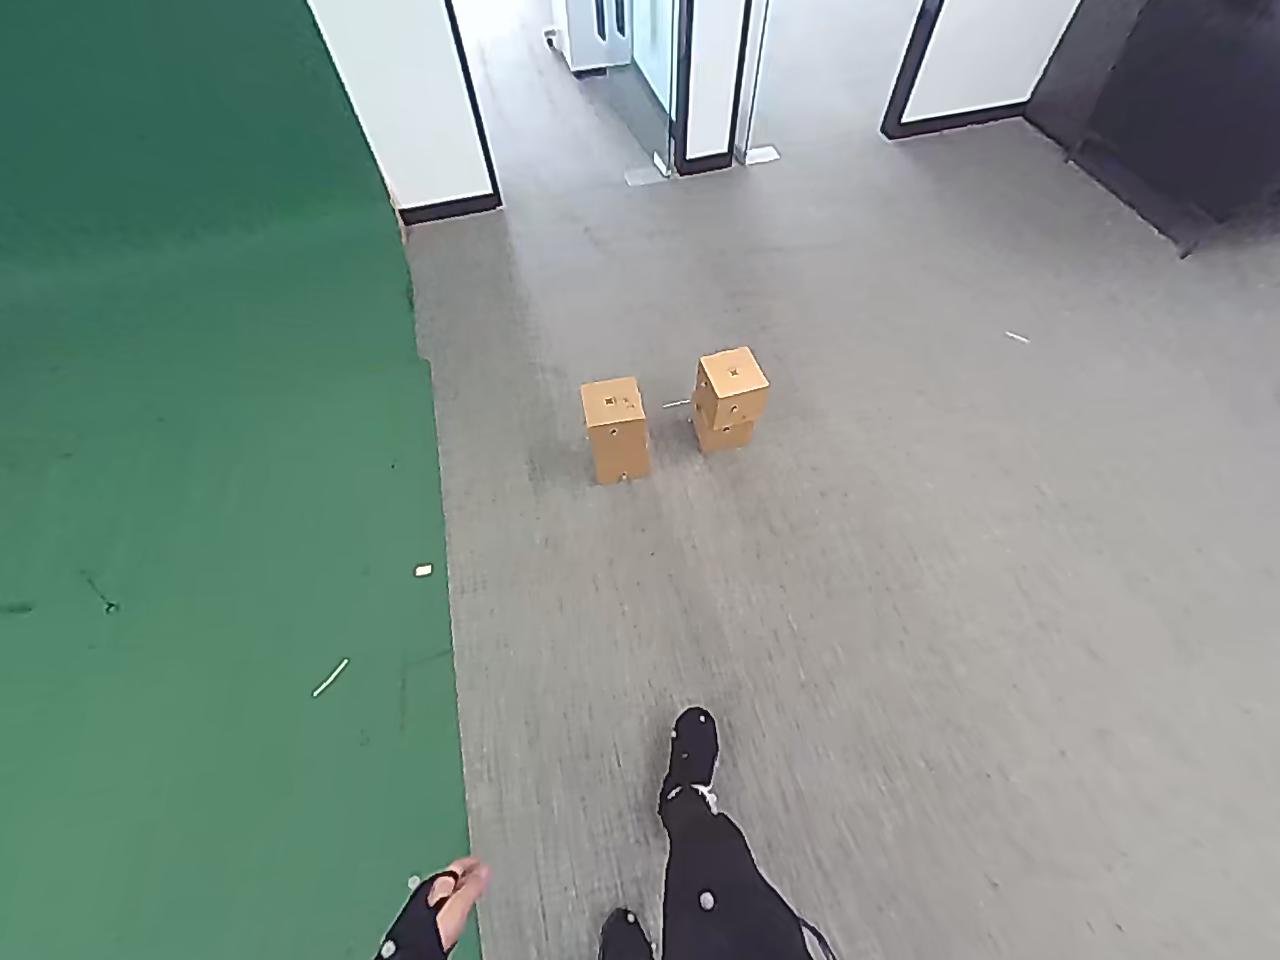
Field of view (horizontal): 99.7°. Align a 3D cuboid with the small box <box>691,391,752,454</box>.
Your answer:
[{"bbox_3d":[0.280,-0.208,1.869,0.179,0.176,0.168,-12,59,-7],"label":"small box"}]

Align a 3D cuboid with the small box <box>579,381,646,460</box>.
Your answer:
[{"bbox_3d":[-0.083,-0.180,1.670,0.179,0.176,0.168,-10,59,-5],"label":"small box"}]

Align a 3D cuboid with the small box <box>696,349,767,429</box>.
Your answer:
[{"bbox_3d":[0.286,-0.281,1.724,0.168,0.176,0.179,-16,59,-8],"label":"small box"}]

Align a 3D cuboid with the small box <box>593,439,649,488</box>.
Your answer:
[{"bbox_3d":[-0.071,-0.094,1.811,0.179,0.176,0.168,-11,59,-5],"label":"small box"}]
